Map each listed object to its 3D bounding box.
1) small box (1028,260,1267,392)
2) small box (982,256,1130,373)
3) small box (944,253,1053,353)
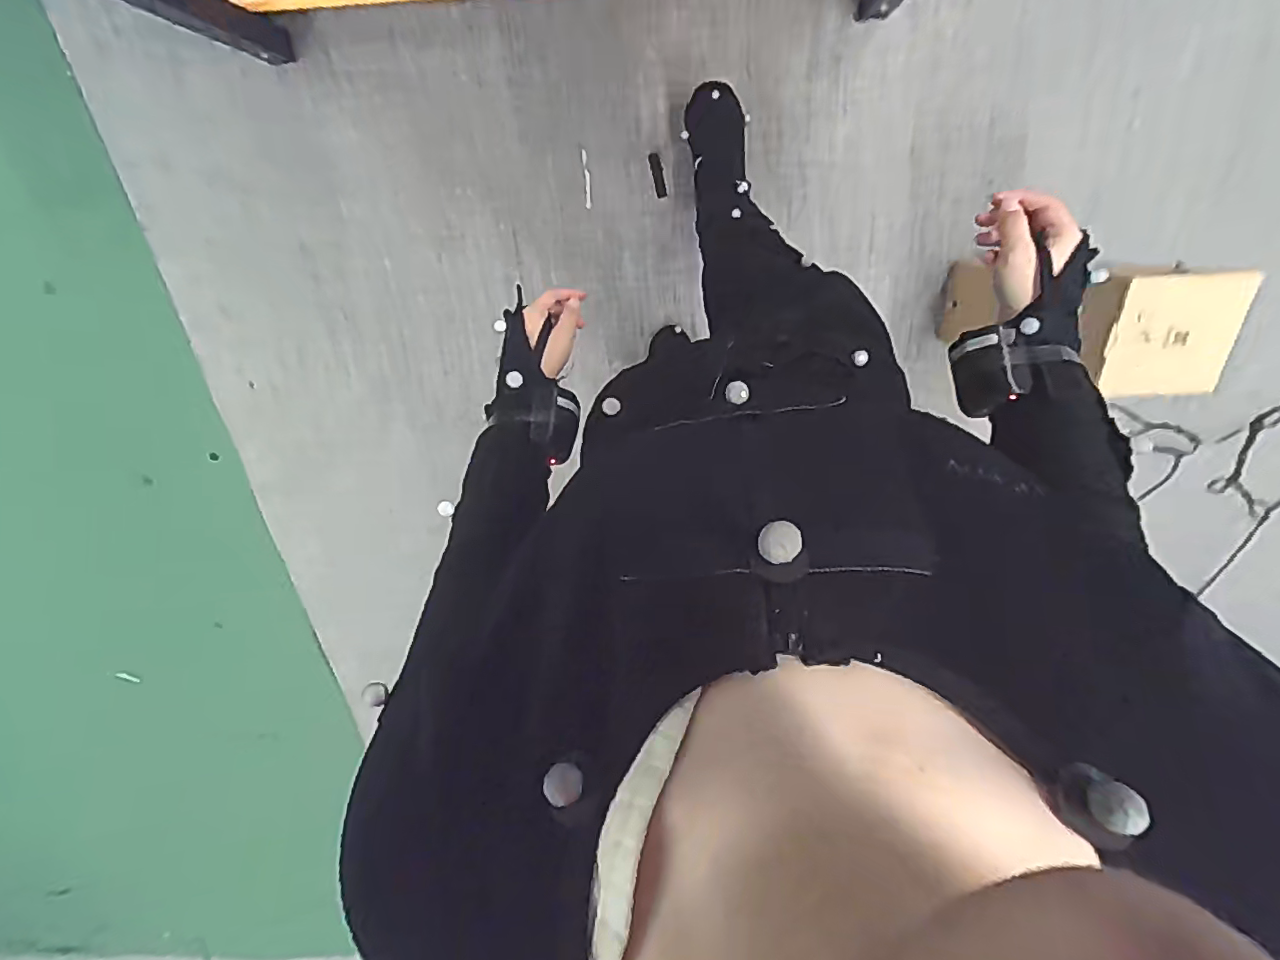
[{"bbox_3d":[0.748,-0.239,0.823,0.179,0.176,0.168,-2,115,2],"label":"small box"},{"bbox_3d":[0.753,-0.302,0.975,0.168,0.176,0.179,-3,114,2],"label":"small box"},{"bbox_3d":[0.763,-0.370,1.123,0.168,0.176,0.179,0,117,2],"label":"small box"}]
